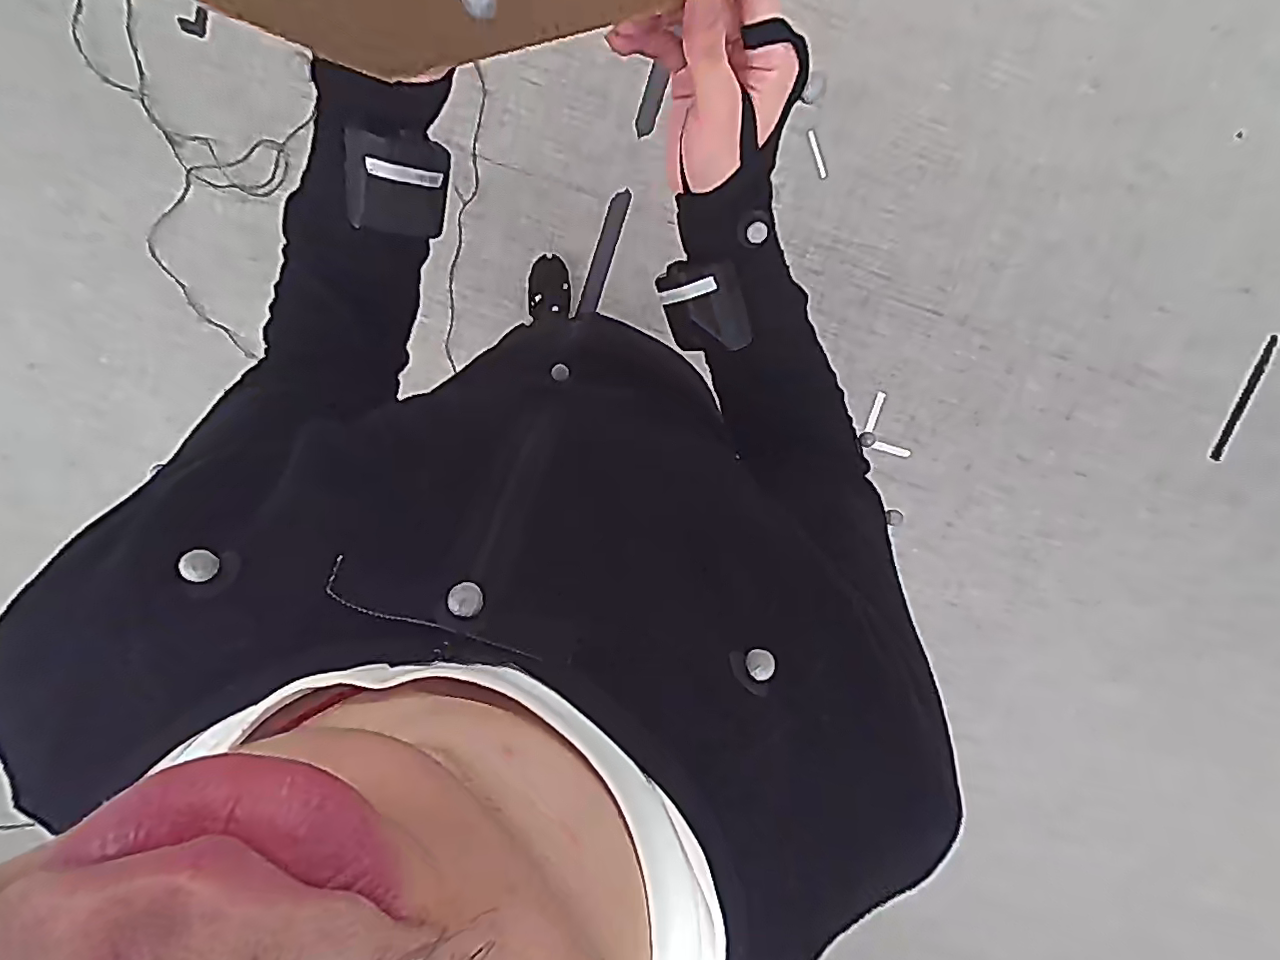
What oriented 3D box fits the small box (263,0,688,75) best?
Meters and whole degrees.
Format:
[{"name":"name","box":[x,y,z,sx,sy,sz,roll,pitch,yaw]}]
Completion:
[{"name":"small box","box":[-0.062,-0.263,0.181,0.179,0.176,0.168,-10,119,5]}]
